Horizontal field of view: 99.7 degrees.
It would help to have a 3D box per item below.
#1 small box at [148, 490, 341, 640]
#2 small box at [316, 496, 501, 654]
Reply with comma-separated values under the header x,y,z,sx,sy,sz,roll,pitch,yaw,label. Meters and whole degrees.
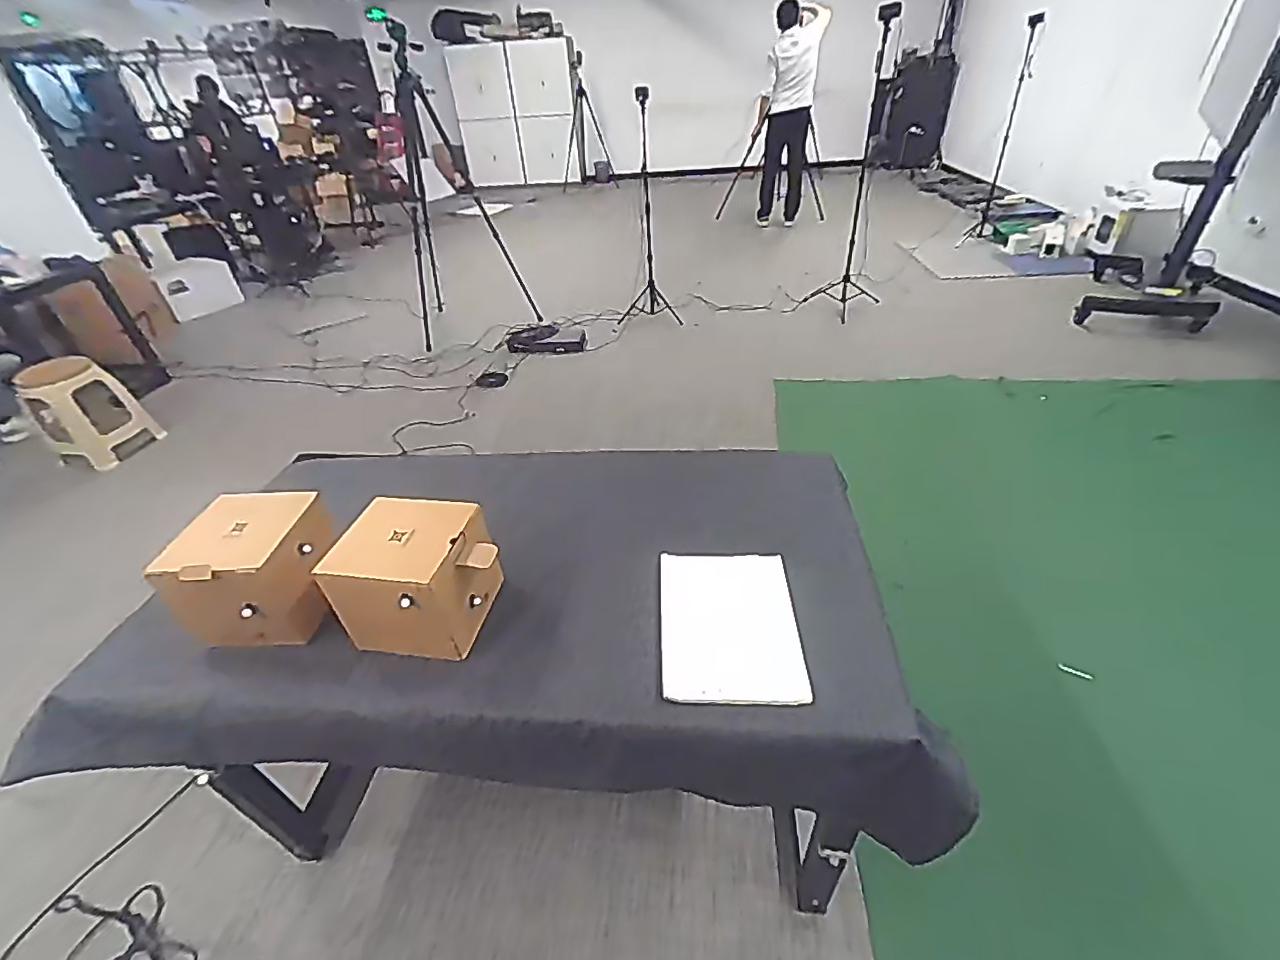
x,y,z,sx,sy,sz,roll,pitch,yaw,label
-0.589,0.136,0.850,0.168,0.176,0.179,-2,36,2,small box
-0.332,0.142,0.815,0.179,0.176,0.168,3,37,9,small box
